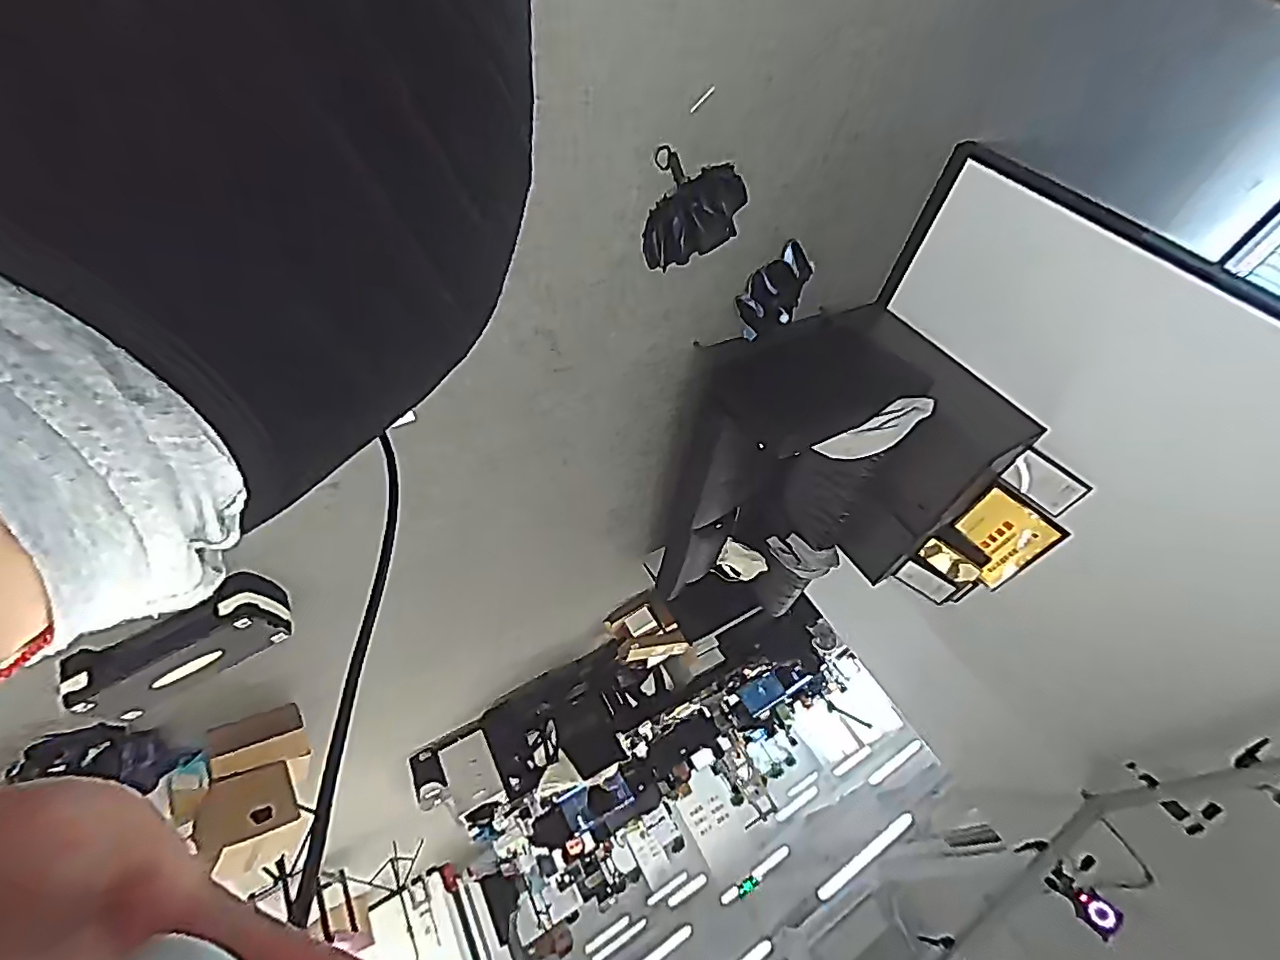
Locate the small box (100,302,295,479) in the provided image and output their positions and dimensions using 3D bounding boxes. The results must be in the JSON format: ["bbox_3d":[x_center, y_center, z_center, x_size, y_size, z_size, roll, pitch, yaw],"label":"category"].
[{"bbox_3d":[-0.668,-0.138,0.828,0.168,0.176,0.179,-25,151,-21],"label":"small box"}]
